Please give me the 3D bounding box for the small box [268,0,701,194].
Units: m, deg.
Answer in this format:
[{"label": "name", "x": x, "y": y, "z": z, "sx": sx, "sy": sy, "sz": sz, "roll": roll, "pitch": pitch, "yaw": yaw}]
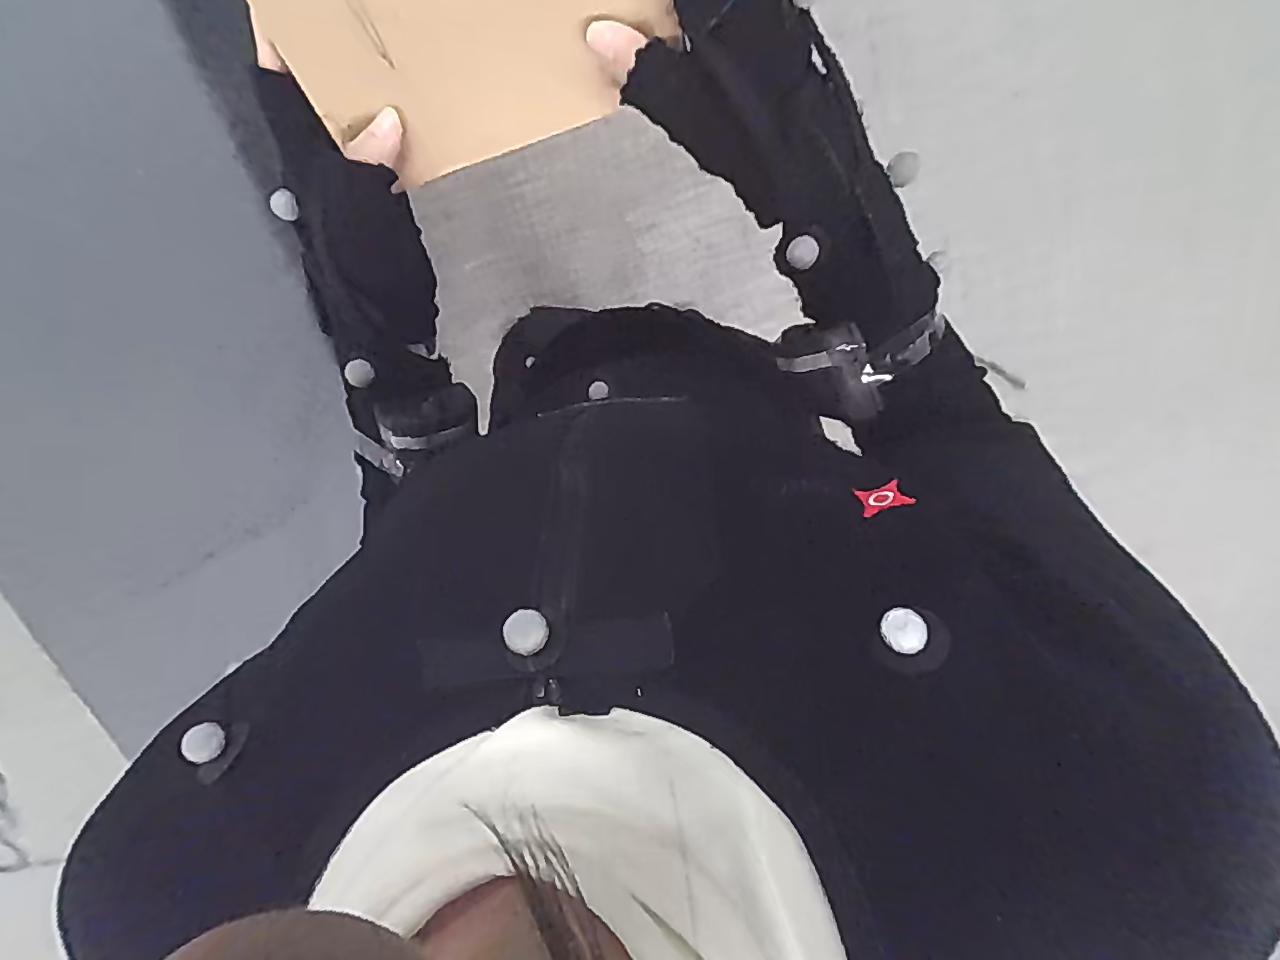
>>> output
[{"label": "small box", "x": -0.075, "y": -0.280, "z": 0.269, "sx": 0.179, "sy": 0.176, "sz": 0.168, "roll": -11, "pitch": 135, "yaw": 14}]
